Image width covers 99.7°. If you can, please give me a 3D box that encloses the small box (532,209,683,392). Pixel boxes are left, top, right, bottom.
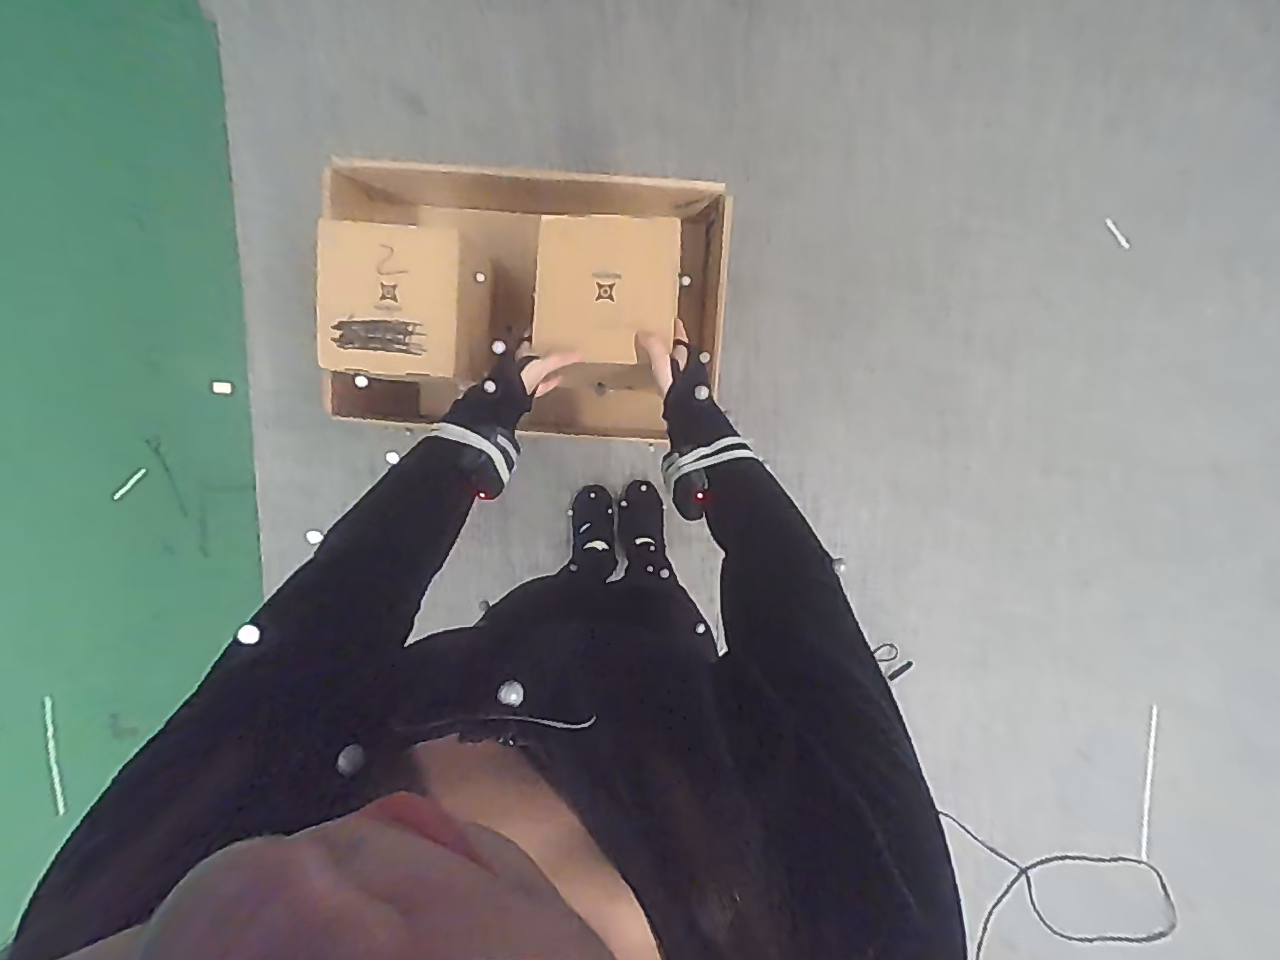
[{"bbox_3d":[-0.033,-0.222,0.705,0.168,0.176,0.179,4,89,5],"label":"small box"}]
